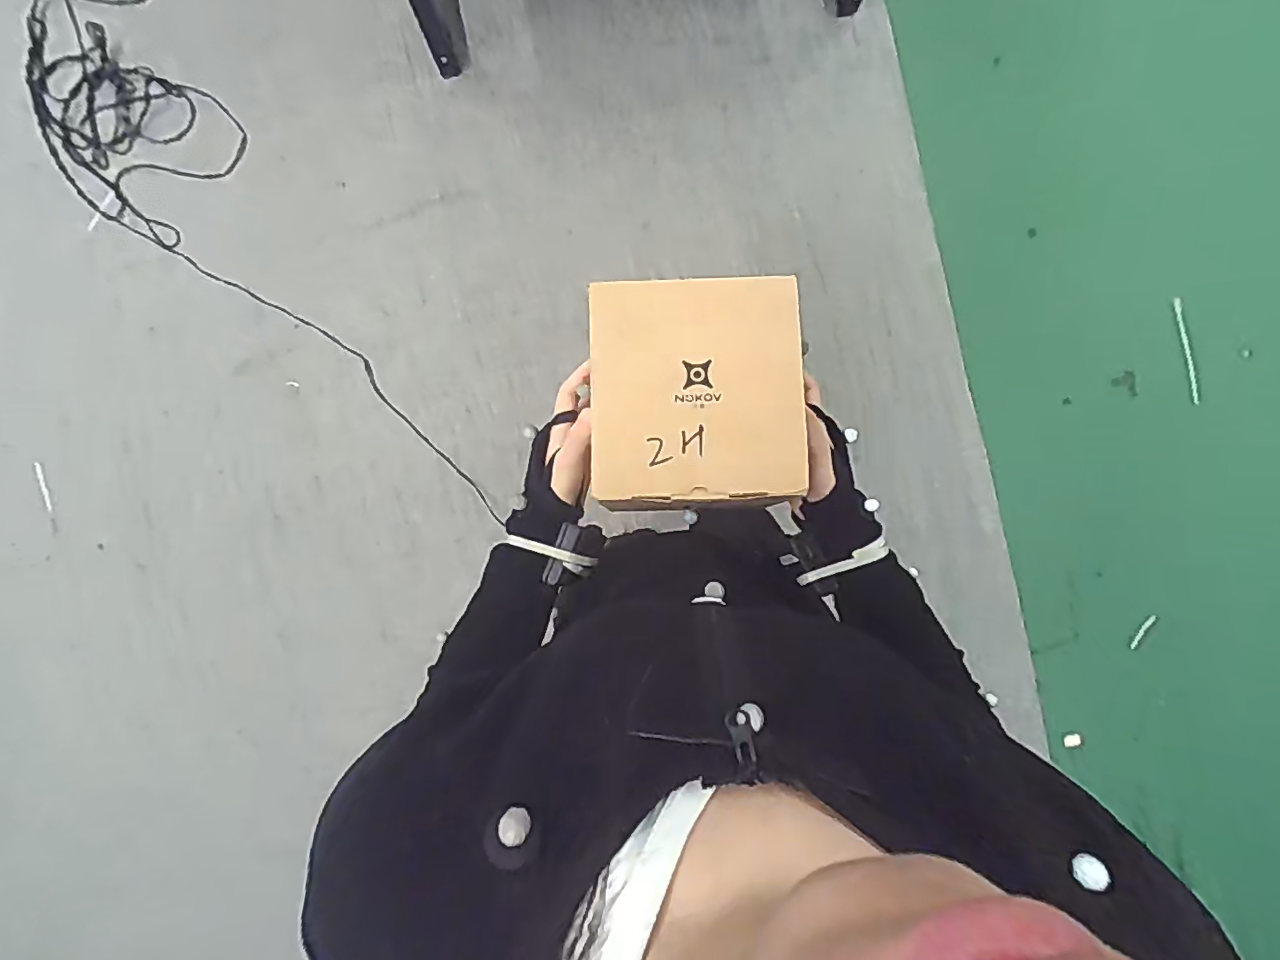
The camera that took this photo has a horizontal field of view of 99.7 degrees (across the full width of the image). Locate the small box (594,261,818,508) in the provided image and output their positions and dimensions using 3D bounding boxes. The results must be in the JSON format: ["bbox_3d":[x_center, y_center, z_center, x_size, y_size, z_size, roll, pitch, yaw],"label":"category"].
[{"bbox_3d":[0.047,-0.070,0.481,0.168,0.176,0.179,-2,83,1],"label":"small box"}]
